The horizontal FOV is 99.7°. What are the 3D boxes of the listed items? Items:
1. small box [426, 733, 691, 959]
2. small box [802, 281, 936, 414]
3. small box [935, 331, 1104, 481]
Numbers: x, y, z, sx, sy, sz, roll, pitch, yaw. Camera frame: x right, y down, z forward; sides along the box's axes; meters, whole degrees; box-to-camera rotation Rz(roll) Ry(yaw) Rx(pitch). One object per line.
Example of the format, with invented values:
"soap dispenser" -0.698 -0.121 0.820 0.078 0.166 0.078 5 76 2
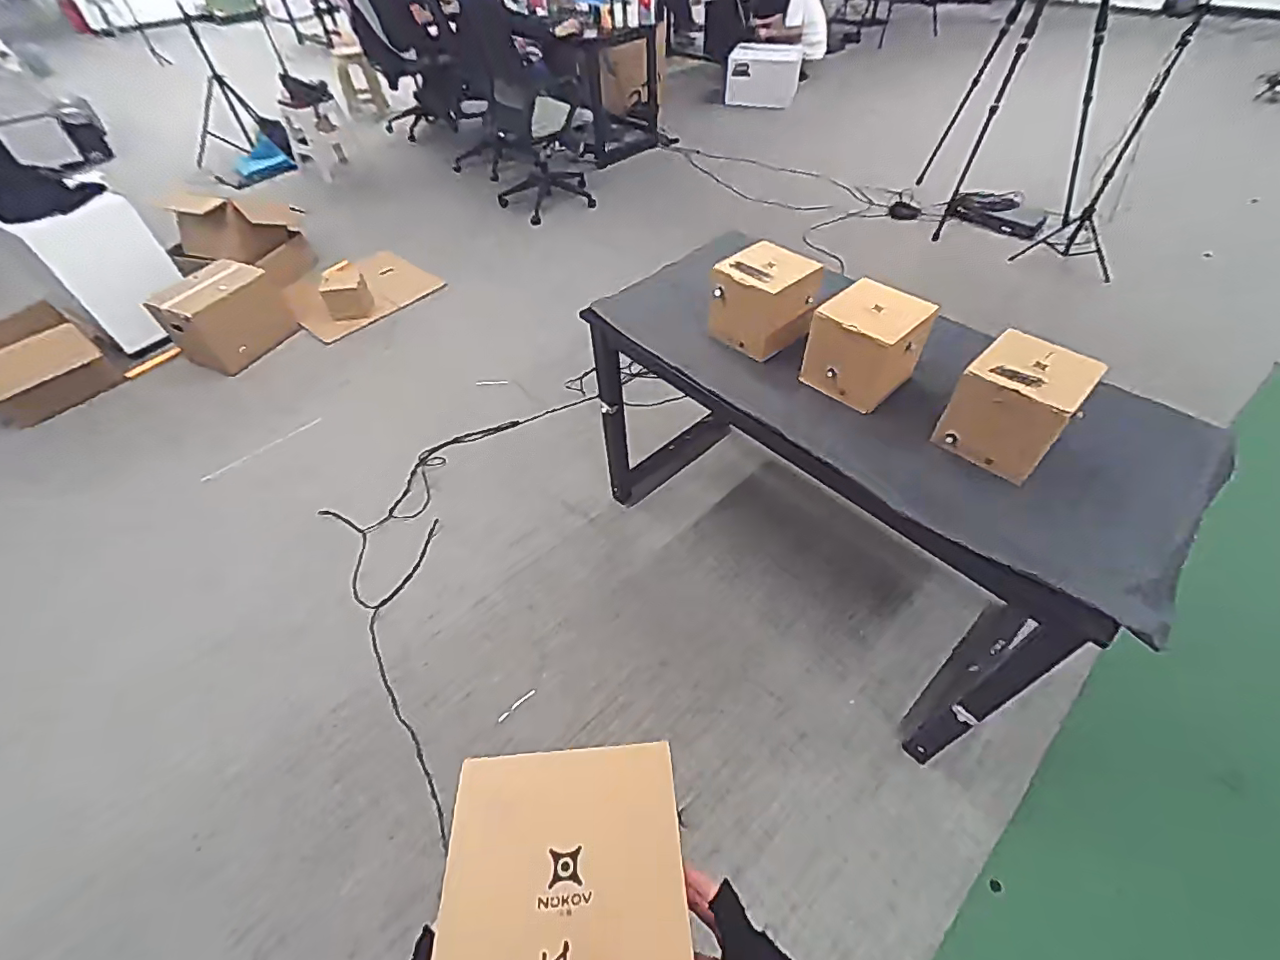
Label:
"small box" -0.051 0.324 0.420 0.168 0.176 0.179 -4 42 -1
"small box" 0.452 -0.268 1.096 0.179 0.176 0.168 -37 57 -25
"small box" 0.658 -0.129 0.959 0.179 0.176 0.168 -36 56 -26
